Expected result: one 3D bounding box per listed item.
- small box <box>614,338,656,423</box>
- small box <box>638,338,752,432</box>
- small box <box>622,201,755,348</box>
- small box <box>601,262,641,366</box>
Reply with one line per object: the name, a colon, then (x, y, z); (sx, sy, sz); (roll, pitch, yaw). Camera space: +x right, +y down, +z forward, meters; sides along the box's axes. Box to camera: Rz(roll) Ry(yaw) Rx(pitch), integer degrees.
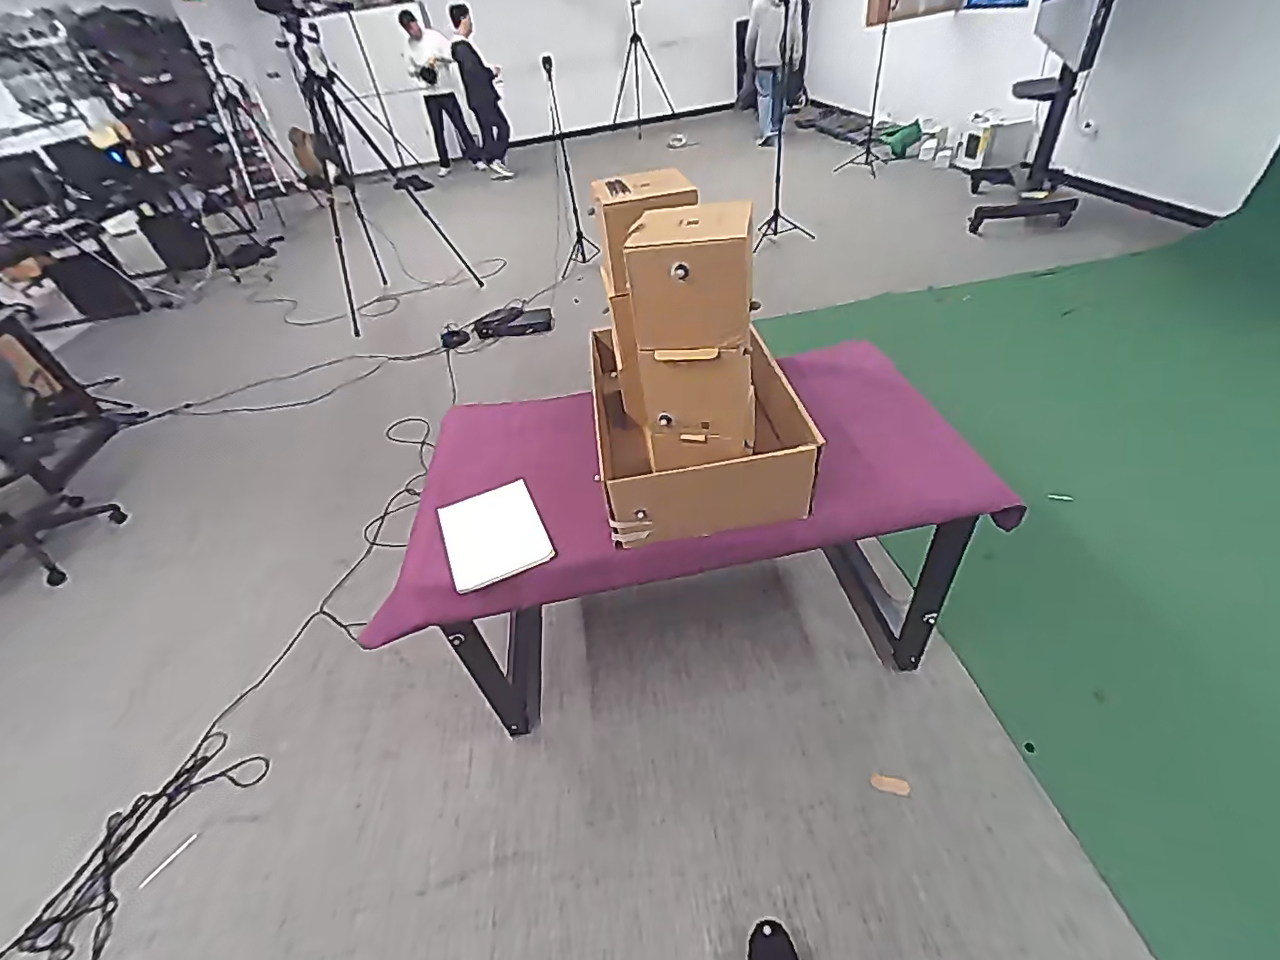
small box: (0.036, -0.250, 1.285); (0.168, 0.176, 0.179); (-9, 43, 0)
small box: (0.108, -0.199, 0.961); (0.168, 0.176, 0.179); (3, 42, 17)
small box: (0.086, -0.319, 0.852); (0.179, 0.176, 0.168); (2, 42, 15)
small box: (0.022, -0.366, 1.173); (0.179, 0.176, 0.168); (-11, 43, -2)
